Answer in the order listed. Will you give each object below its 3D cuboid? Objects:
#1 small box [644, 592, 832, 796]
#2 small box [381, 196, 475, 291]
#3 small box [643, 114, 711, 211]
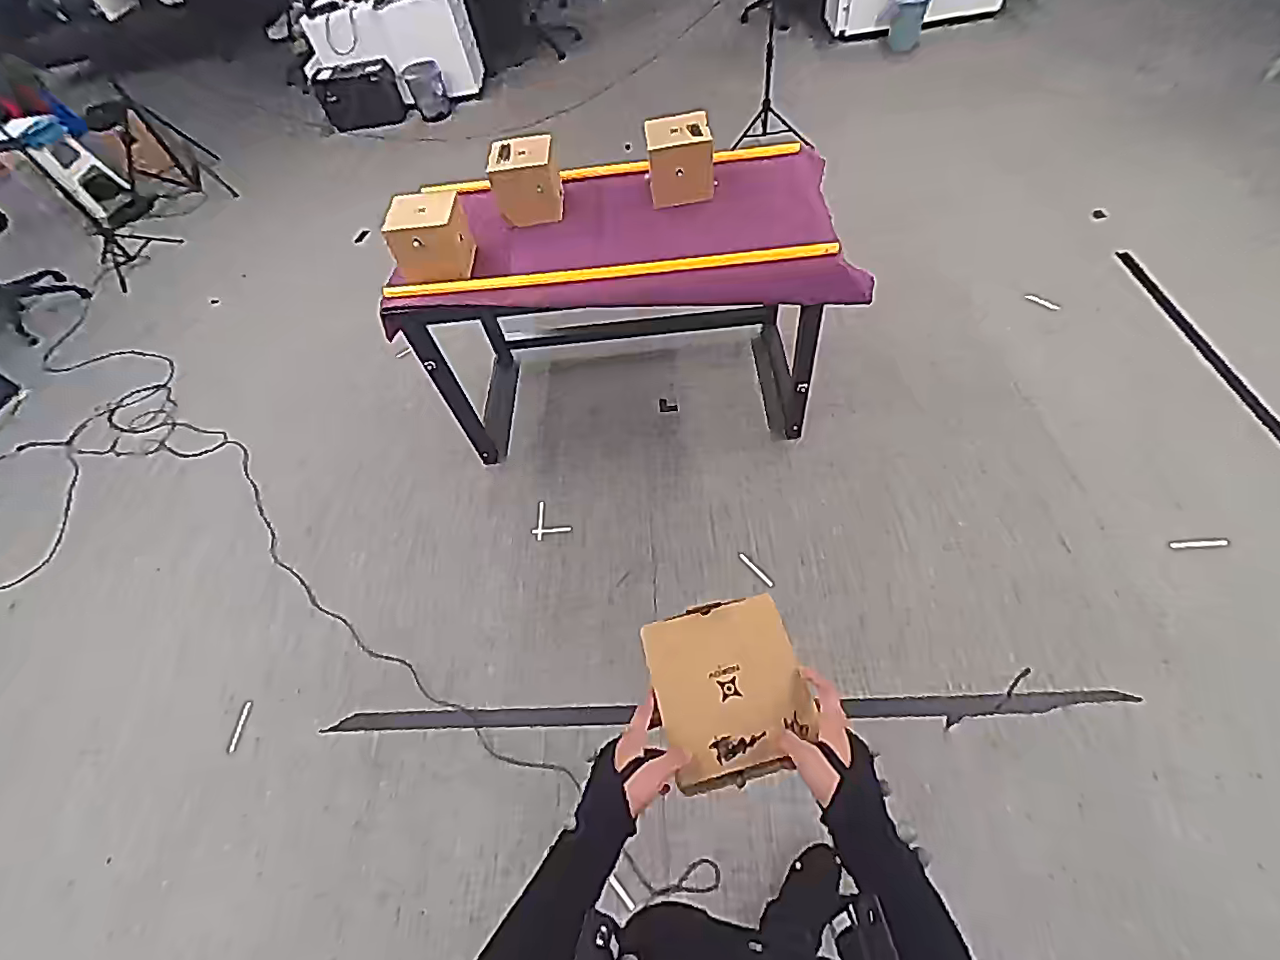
[{"bbox_3d":[0.108,0.264,0.659,0.168,0.176,0.179,-15,56,-2],"label":"small box"},{"bbox_3d":[-0.565,-0.640,1.471,0.179,0.176,0.168,-6,55,4],"label":"small box"},{"bbox_3d":[0.107,-0.899,1.539,0.179,0.176,0.168,-8,57,5],"label":"small box"}]
